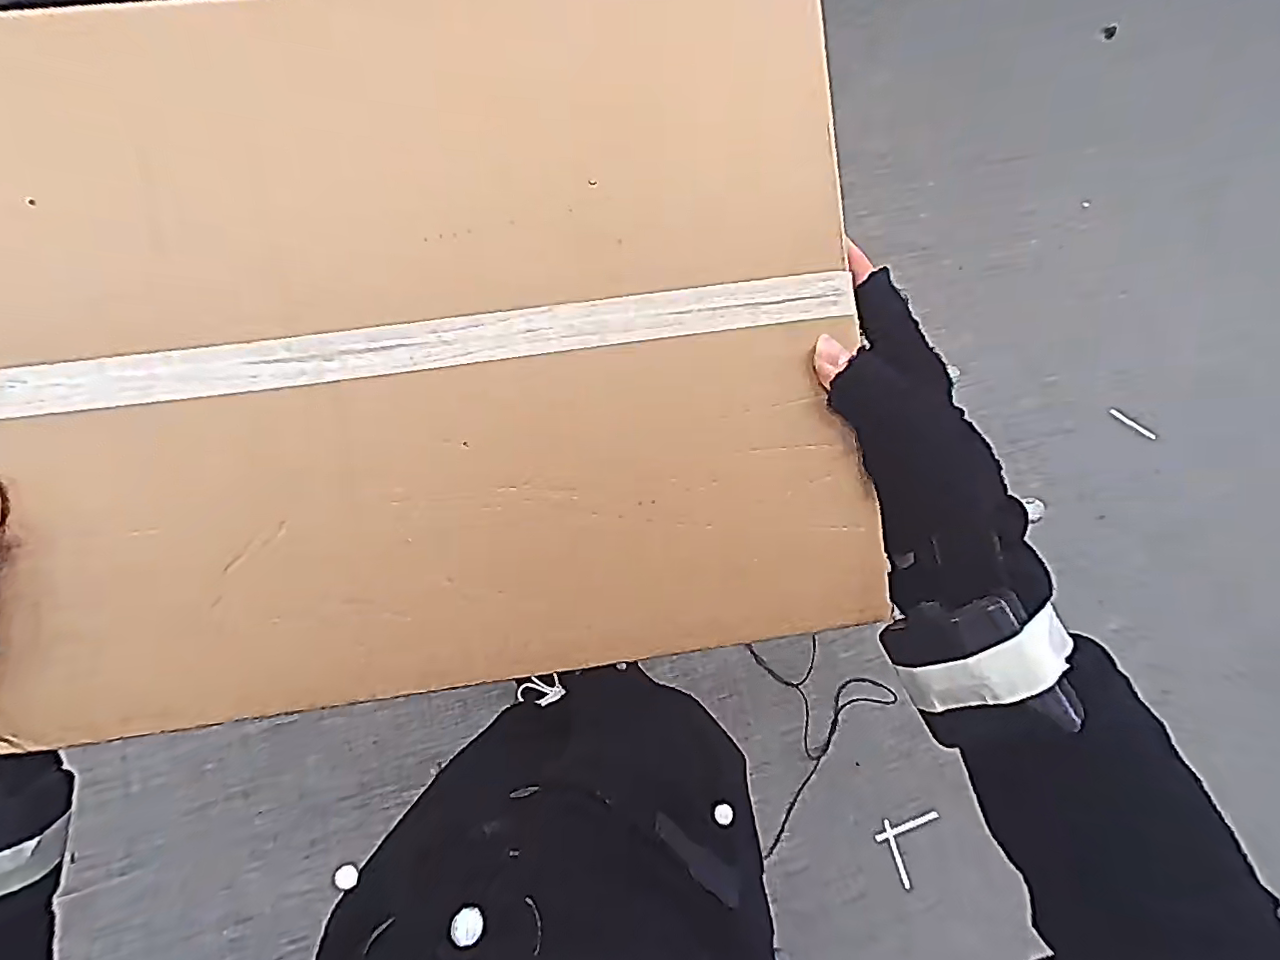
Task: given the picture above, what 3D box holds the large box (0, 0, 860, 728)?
[{"bbox_3d":[-0.110,-0.068,0.404,0.408,0.320,0.320,-7,92,-4],"label":"large box"}]
